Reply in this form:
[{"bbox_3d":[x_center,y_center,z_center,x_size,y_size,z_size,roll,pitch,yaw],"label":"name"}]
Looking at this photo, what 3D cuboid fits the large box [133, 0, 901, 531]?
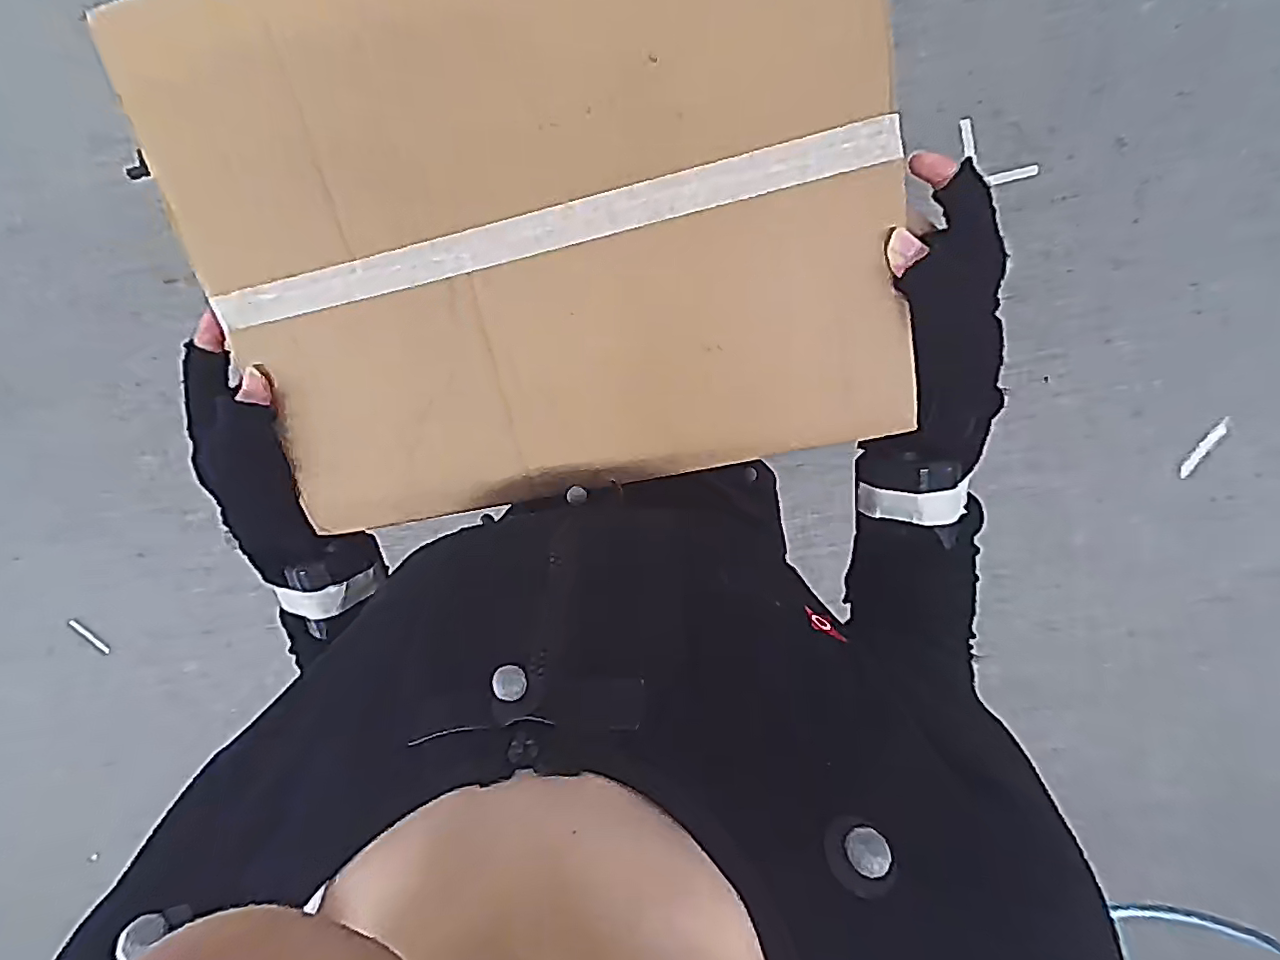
[{"bbox_3d":[-0.048,-0.189,0.458,0.408,0.320,0.320,-10,108,9],"label":"large box"}]
